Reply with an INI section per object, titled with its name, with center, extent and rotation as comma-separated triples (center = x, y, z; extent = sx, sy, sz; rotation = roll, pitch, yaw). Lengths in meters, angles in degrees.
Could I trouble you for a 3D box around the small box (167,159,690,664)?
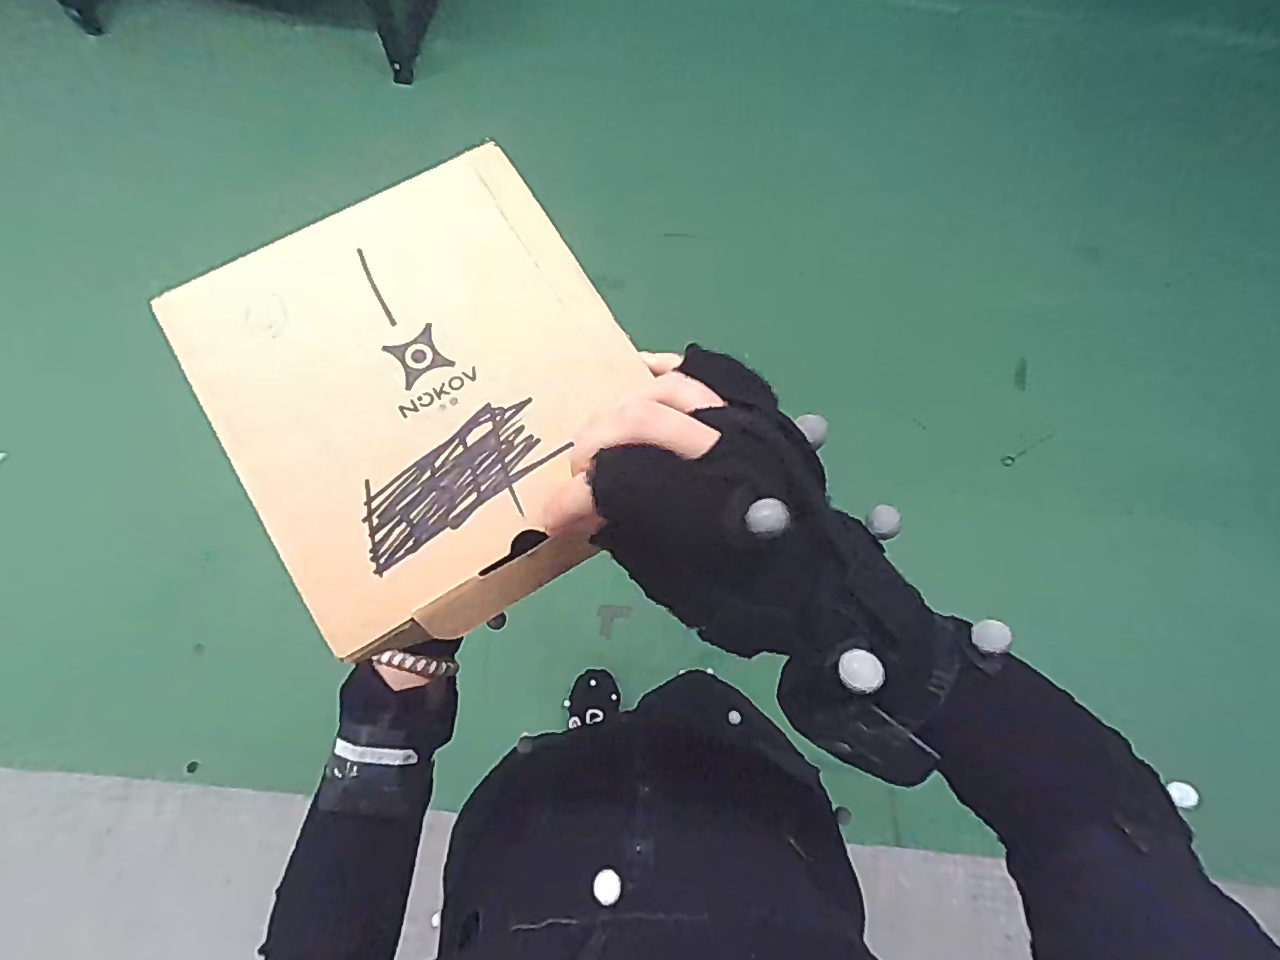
[small box]
center = -0.094, -0.025, 0.310
extent = 0.168, 0.176, 0.179
rotation = -32, 82, -10
